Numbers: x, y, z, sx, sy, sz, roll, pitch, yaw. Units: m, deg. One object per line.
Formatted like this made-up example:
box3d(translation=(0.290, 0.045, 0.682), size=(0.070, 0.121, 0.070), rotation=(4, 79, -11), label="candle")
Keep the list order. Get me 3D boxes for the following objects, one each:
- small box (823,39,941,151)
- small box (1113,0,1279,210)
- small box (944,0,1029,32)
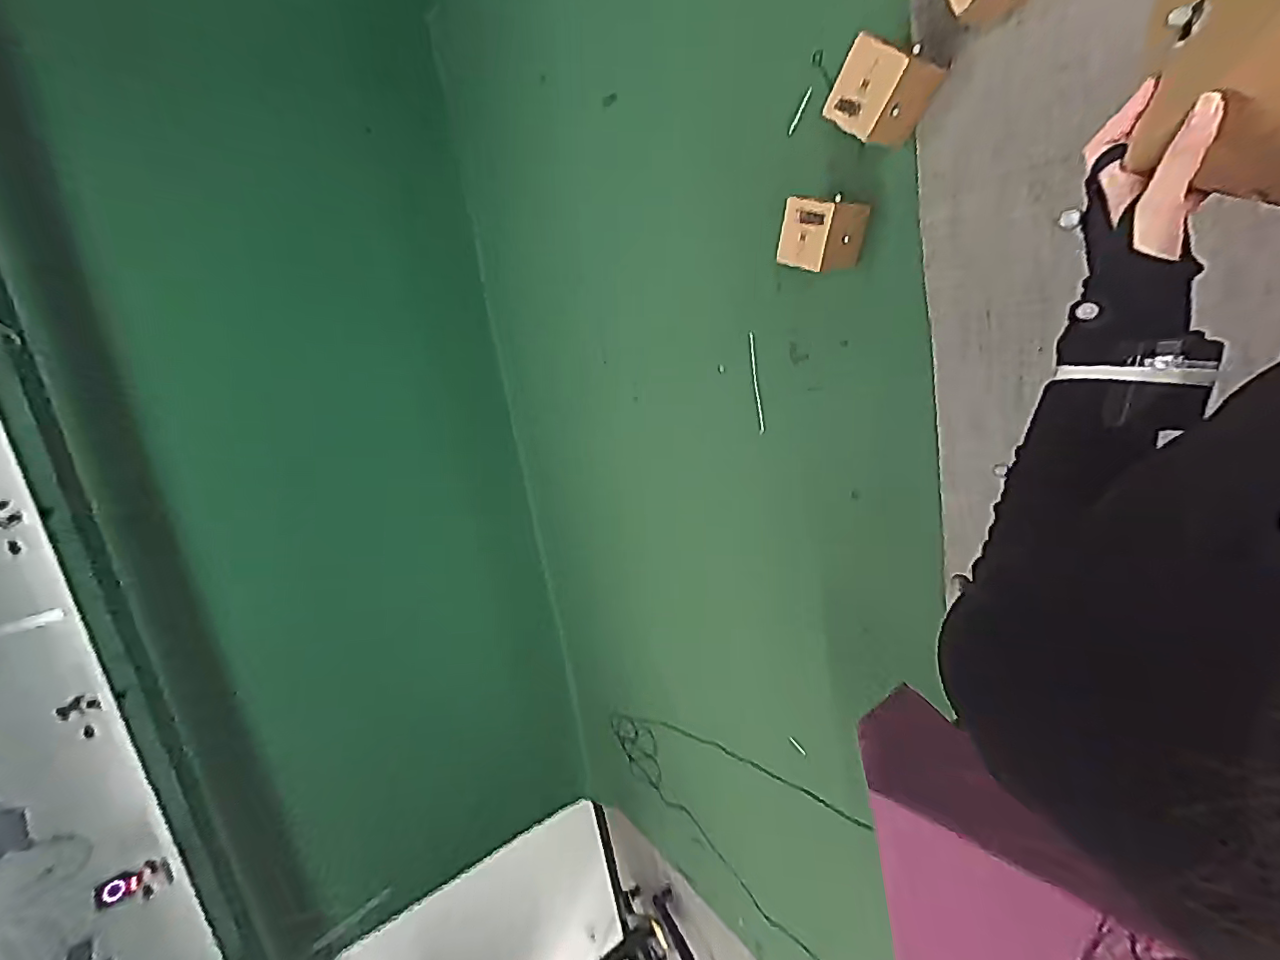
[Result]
box3d(translation=(0.605, -0.953, 1.352), size=(0.168, 0.176, 0.179), rotation=(56, 142, 26), label="small box")
box3d(translation=(0.426, -0.283, 0.295), size=(0.179, 0.168, 0.176), rotation=(80, -150, -77), label="small box")
box3d(translation=(0.733, -1.067, 1.106), size=(0.168, 0.176, 0.179), rotation=(-26, 83, 57), label="small box")
